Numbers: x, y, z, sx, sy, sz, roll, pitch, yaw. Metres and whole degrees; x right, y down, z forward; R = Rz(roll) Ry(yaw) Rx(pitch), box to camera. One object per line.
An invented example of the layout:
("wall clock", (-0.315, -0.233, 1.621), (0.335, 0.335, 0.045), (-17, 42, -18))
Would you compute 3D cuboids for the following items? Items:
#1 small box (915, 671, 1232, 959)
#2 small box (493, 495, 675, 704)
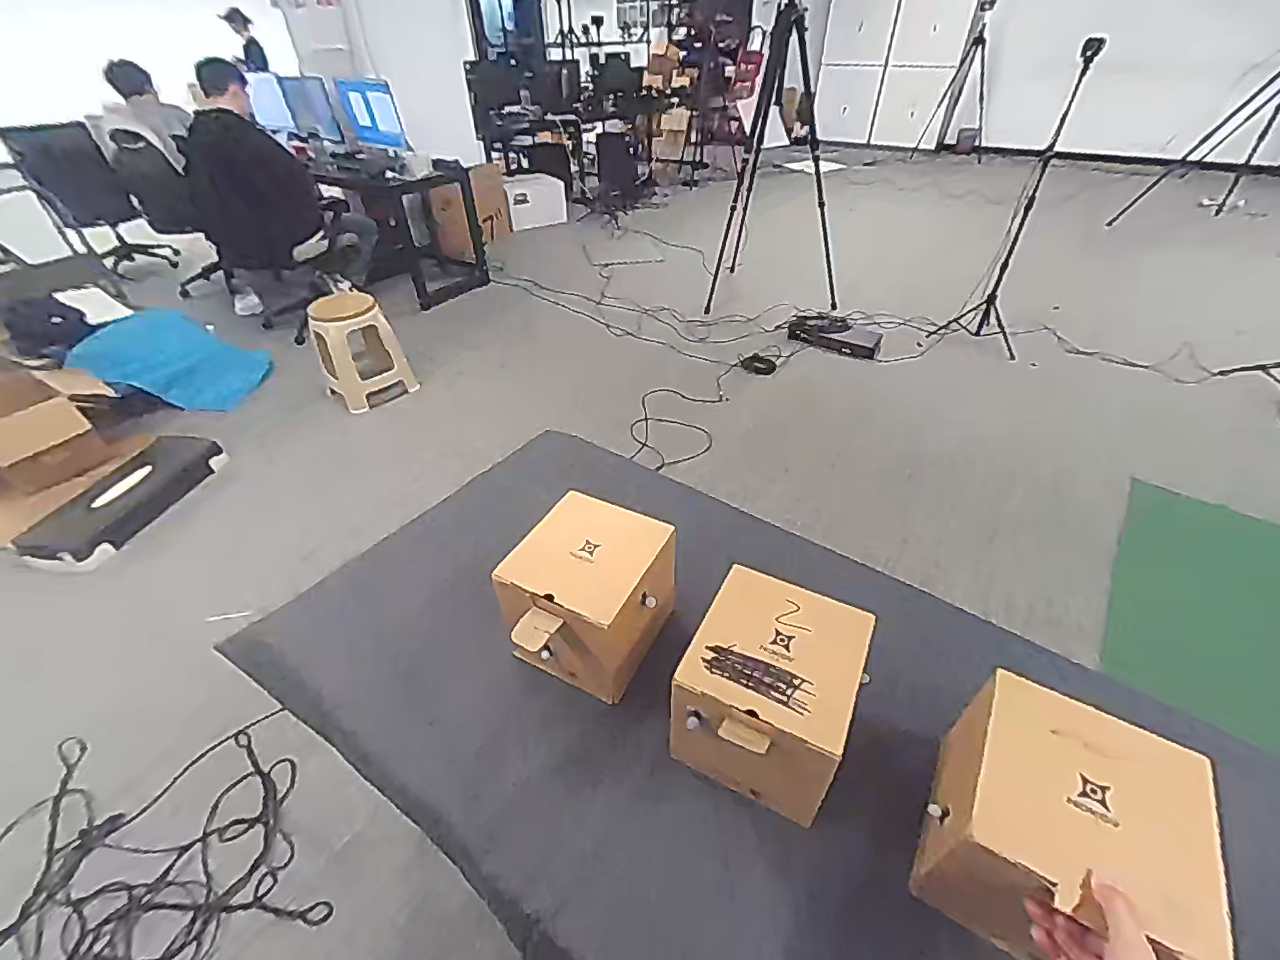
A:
("small box", (0.374, 0.323, 0.497), (0.168, 0.176, 0.179), (21, 46, 24))
("small box", (-0.066, 0.154, 0.717), (0.168, 0.176, 0.179), (17, 43, 21))
